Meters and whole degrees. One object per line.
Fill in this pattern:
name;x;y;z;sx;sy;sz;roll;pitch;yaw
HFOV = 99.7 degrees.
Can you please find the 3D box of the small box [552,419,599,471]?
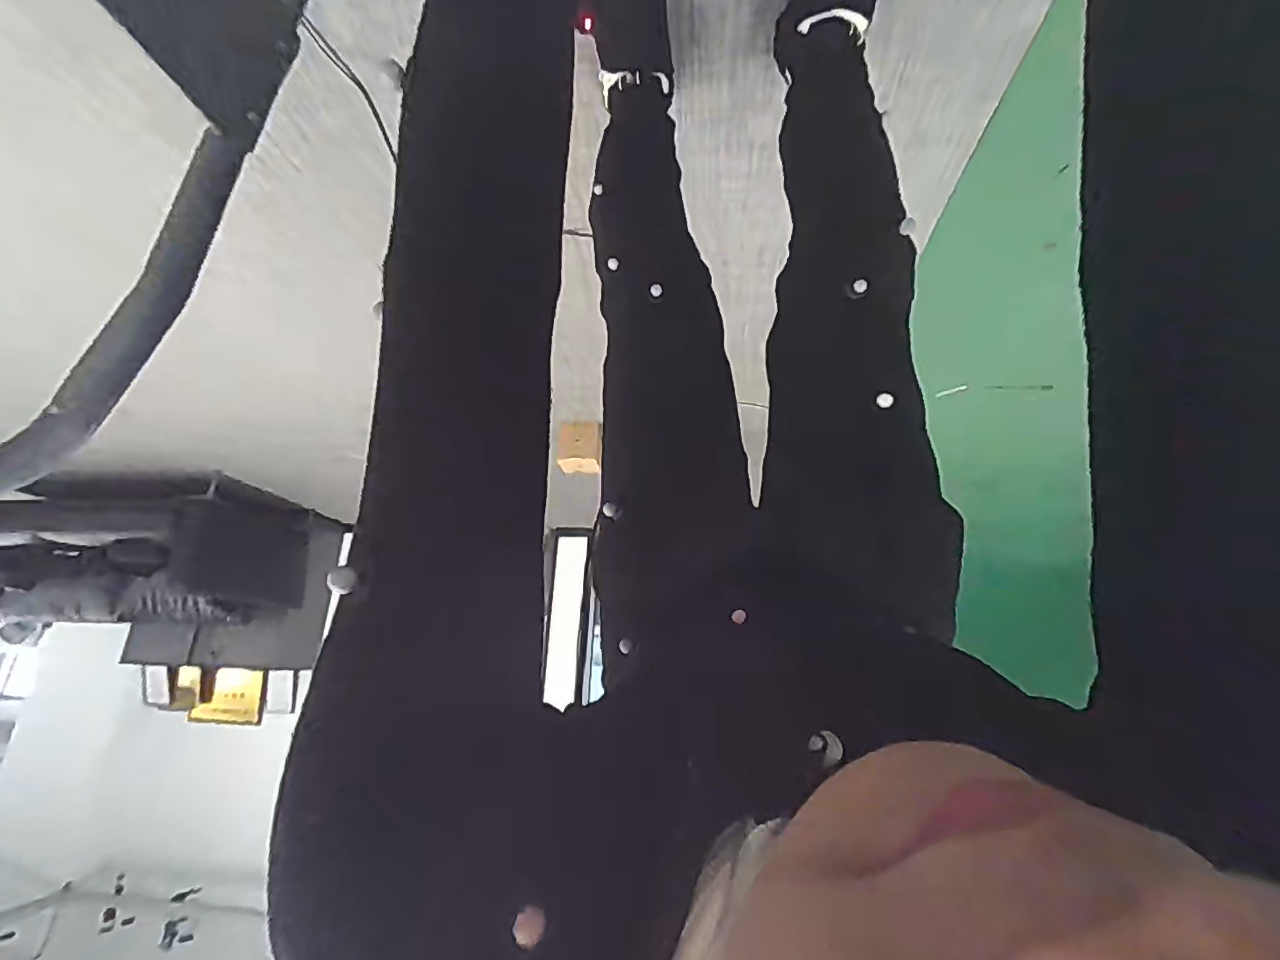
small box;-0.267;-0.147;2.278;0.168;0.176;0.179;2;161;4
